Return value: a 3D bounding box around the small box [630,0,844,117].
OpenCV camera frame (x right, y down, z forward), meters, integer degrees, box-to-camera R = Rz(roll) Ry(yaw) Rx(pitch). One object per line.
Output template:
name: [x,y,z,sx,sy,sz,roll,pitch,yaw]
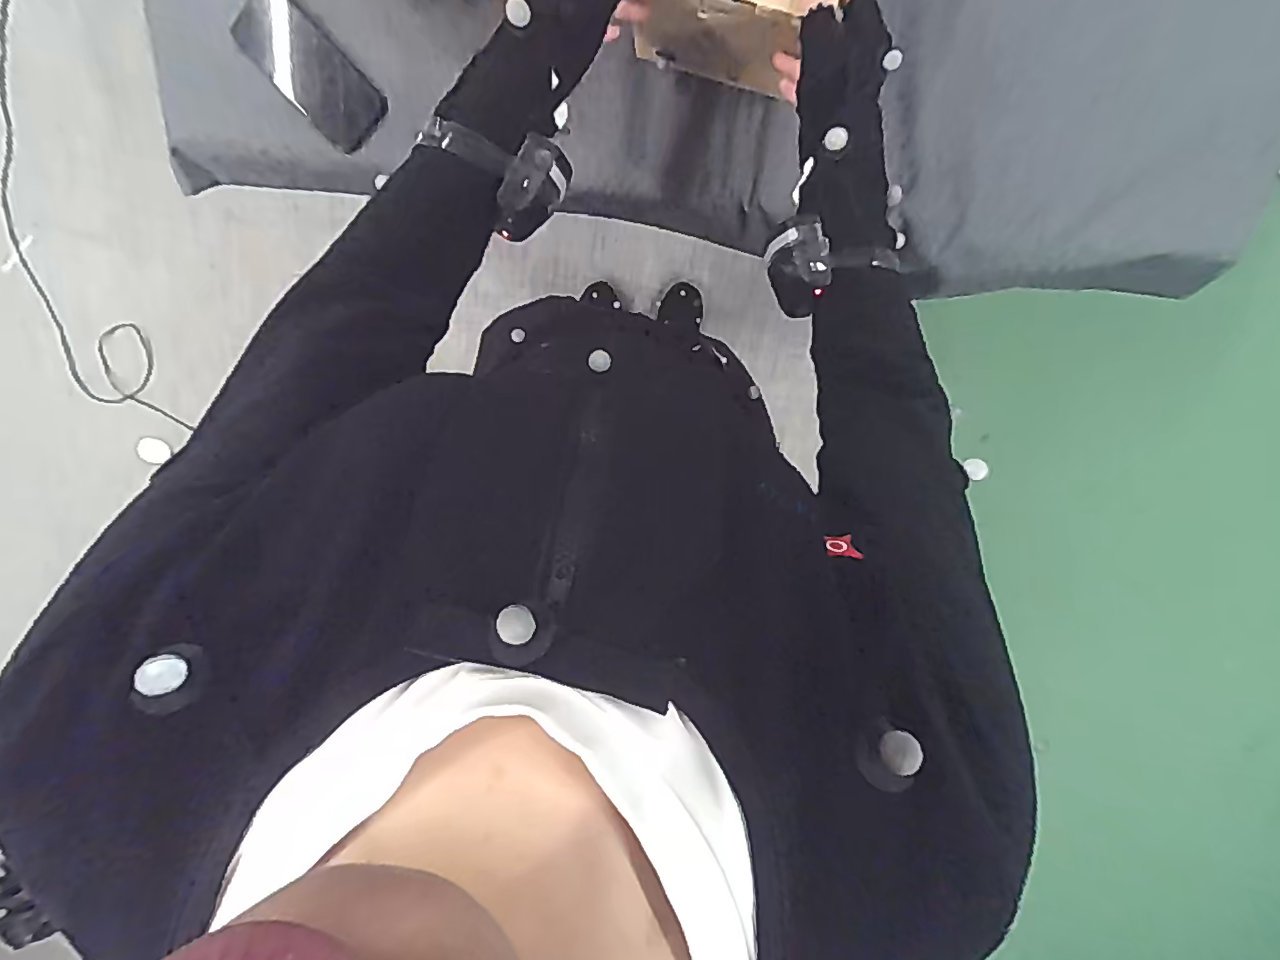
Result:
small box: [0.096,-0.456,0.474,0.168,0.176,0.179,14,107,-1]
